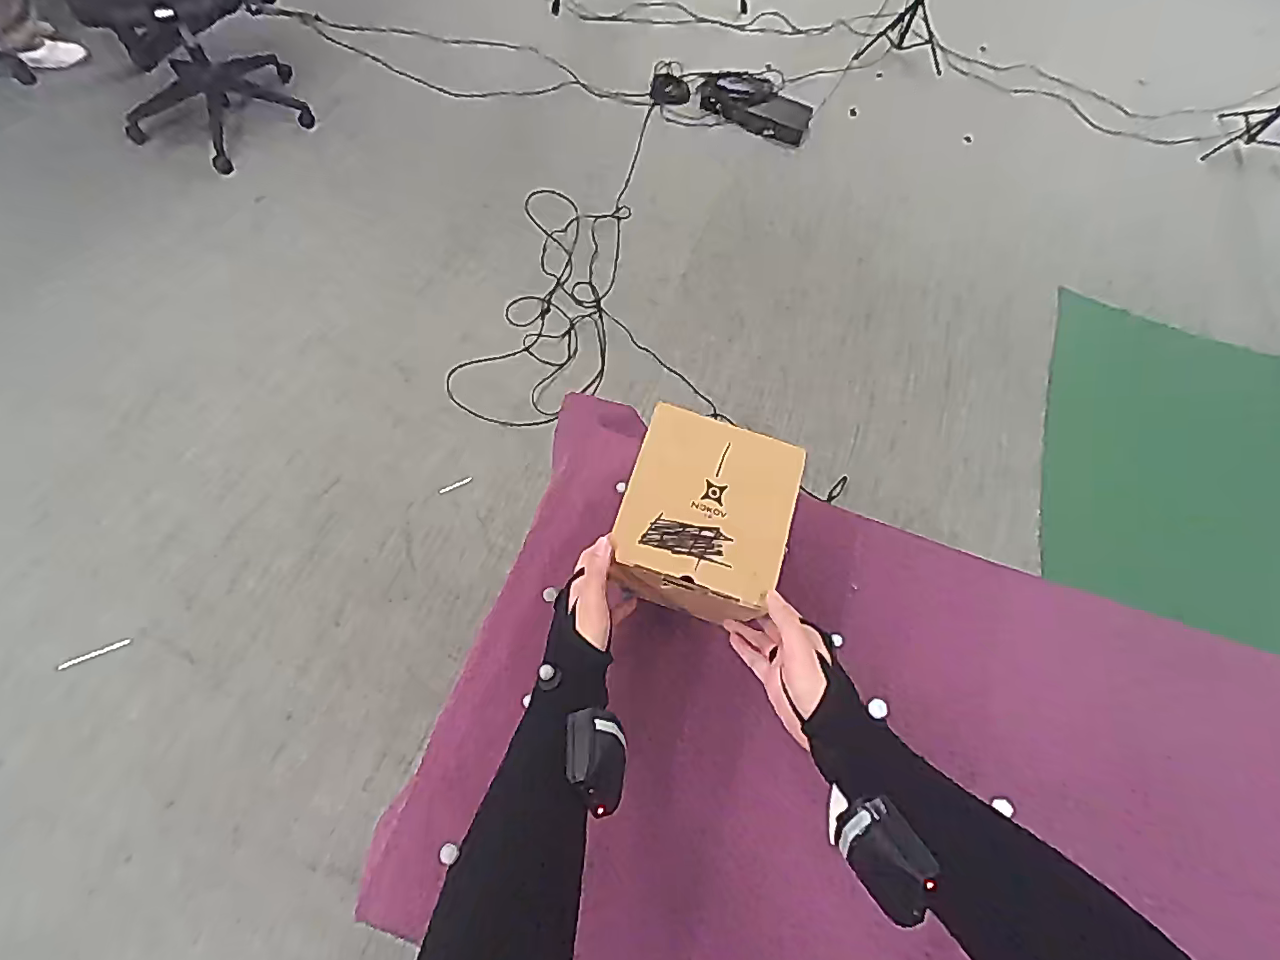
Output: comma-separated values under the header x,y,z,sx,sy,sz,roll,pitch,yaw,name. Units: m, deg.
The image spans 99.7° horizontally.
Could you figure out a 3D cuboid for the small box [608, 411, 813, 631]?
x,y,z,sx,sy,sz,roll,pitch,yaw,name
0.068,0.057,0.603,0.168,0.176,0.179,19,69,1,small box
